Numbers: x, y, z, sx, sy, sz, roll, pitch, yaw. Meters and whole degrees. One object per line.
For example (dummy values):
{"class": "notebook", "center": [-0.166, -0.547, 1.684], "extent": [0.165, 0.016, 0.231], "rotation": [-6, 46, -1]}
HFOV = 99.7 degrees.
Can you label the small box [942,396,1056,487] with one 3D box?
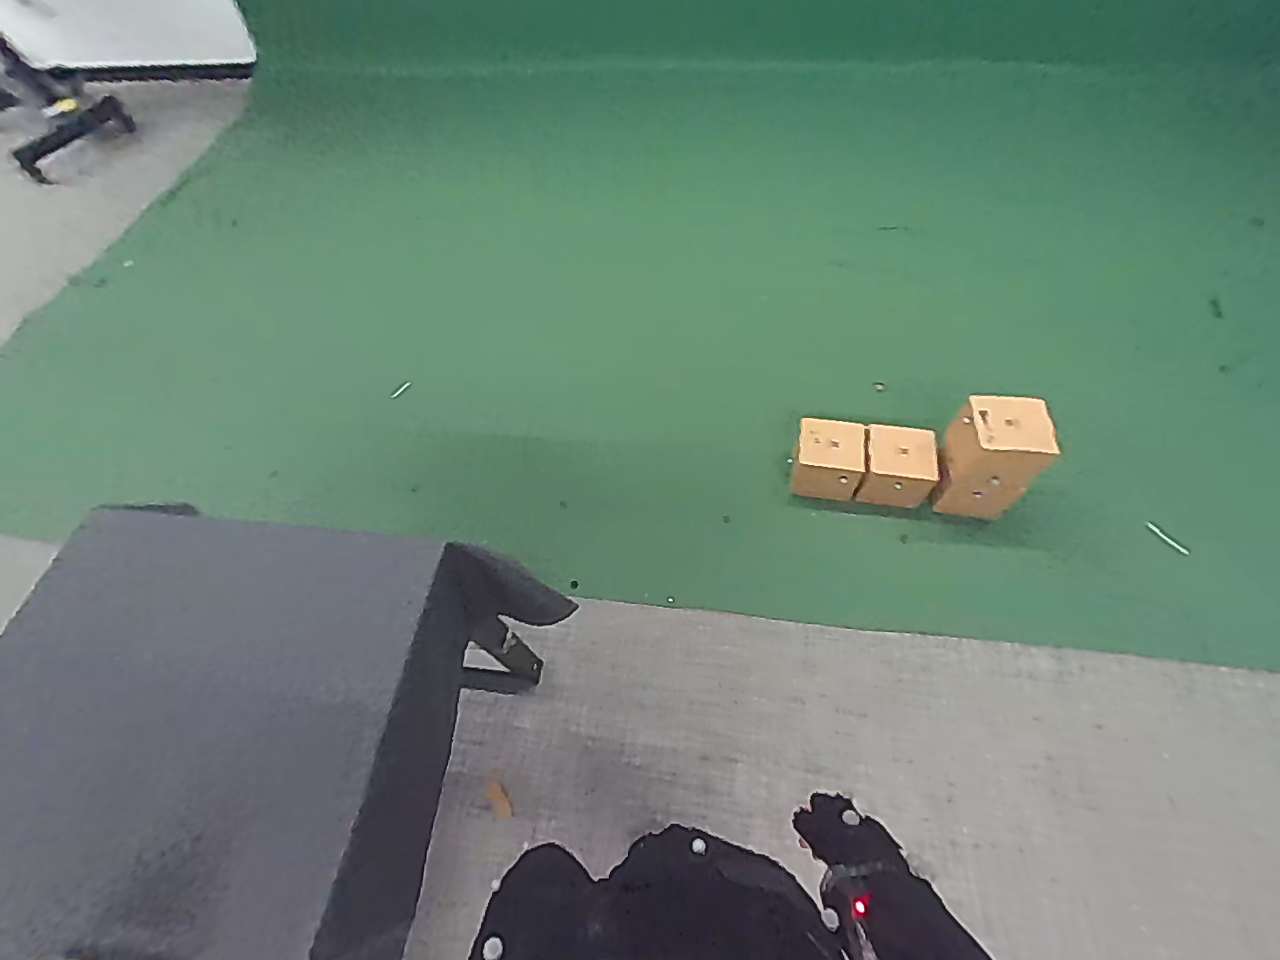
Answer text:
{"class": "small box", "center": [0.911, -0.095, 1.389], "extent": [0.179, 0.176, 0.168], "rotation": [5, 59, 6]}
